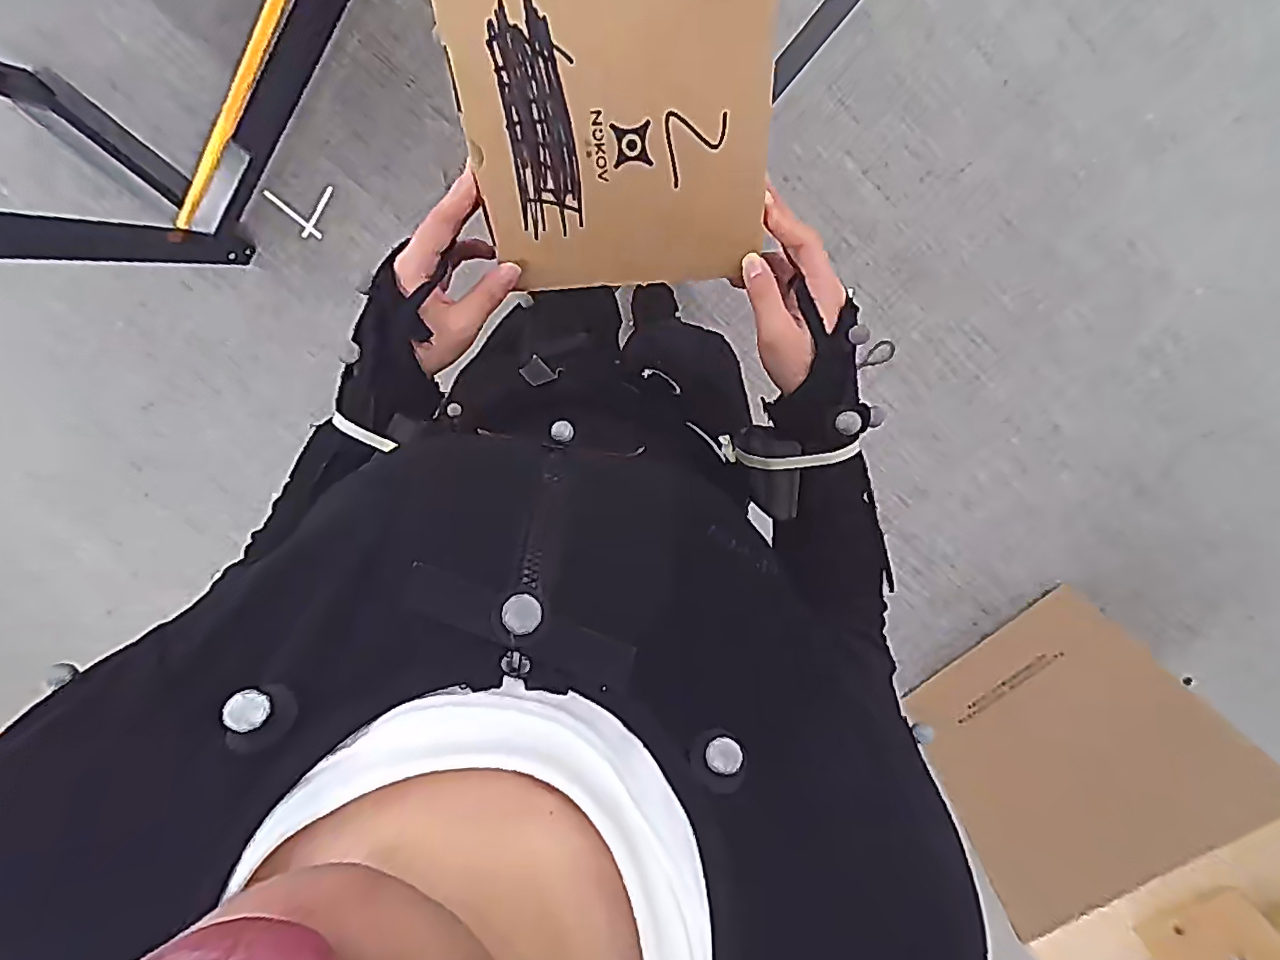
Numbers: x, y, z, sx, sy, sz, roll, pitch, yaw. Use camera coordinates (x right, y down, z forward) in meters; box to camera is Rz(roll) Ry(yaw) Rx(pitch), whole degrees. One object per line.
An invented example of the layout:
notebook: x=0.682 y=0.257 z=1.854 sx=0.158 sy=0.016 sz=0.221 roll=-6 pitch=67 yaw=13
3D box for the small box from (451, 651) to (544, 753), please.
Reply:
small box: x=-0.402 y=0.633 z=1.557 sx=0.179 sy=0.176 sz=0.168 roll=-39 pitch=103 yaw=15

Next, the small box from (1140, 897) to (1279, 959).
small box: x=0.955 y=0.801 z=0.843 sx=0.179 sy=0.176 sz=0.168 roll=41 pitch=107 yaw=-10
